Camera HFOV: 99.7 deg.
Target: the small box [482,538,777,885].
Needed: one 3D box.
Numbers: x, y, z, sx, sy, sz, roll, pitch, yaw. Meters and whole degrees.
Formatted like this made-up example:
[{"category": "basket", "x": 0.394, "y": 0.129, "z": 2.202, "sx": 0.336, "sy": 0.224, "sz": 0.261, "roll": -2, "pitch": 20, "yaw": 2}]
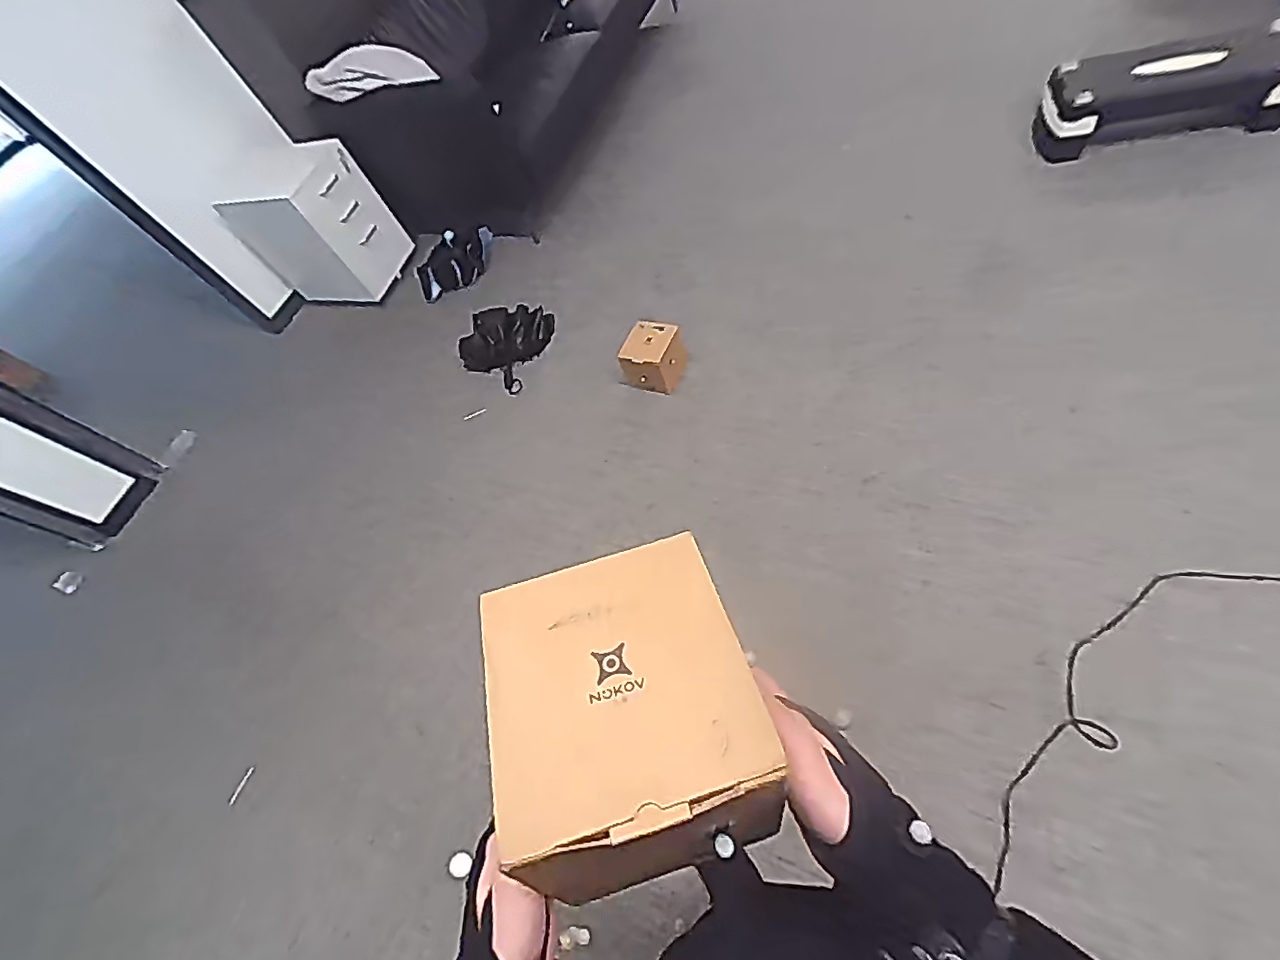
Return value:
[{"category": "small box", "x": -0.009, "y": 0.178, "z": 0.409, "sx": 0.168, "sy": 0.176, "sz": 0.179, "roll": -15, "pitch": 46, "yaw": -5}]
